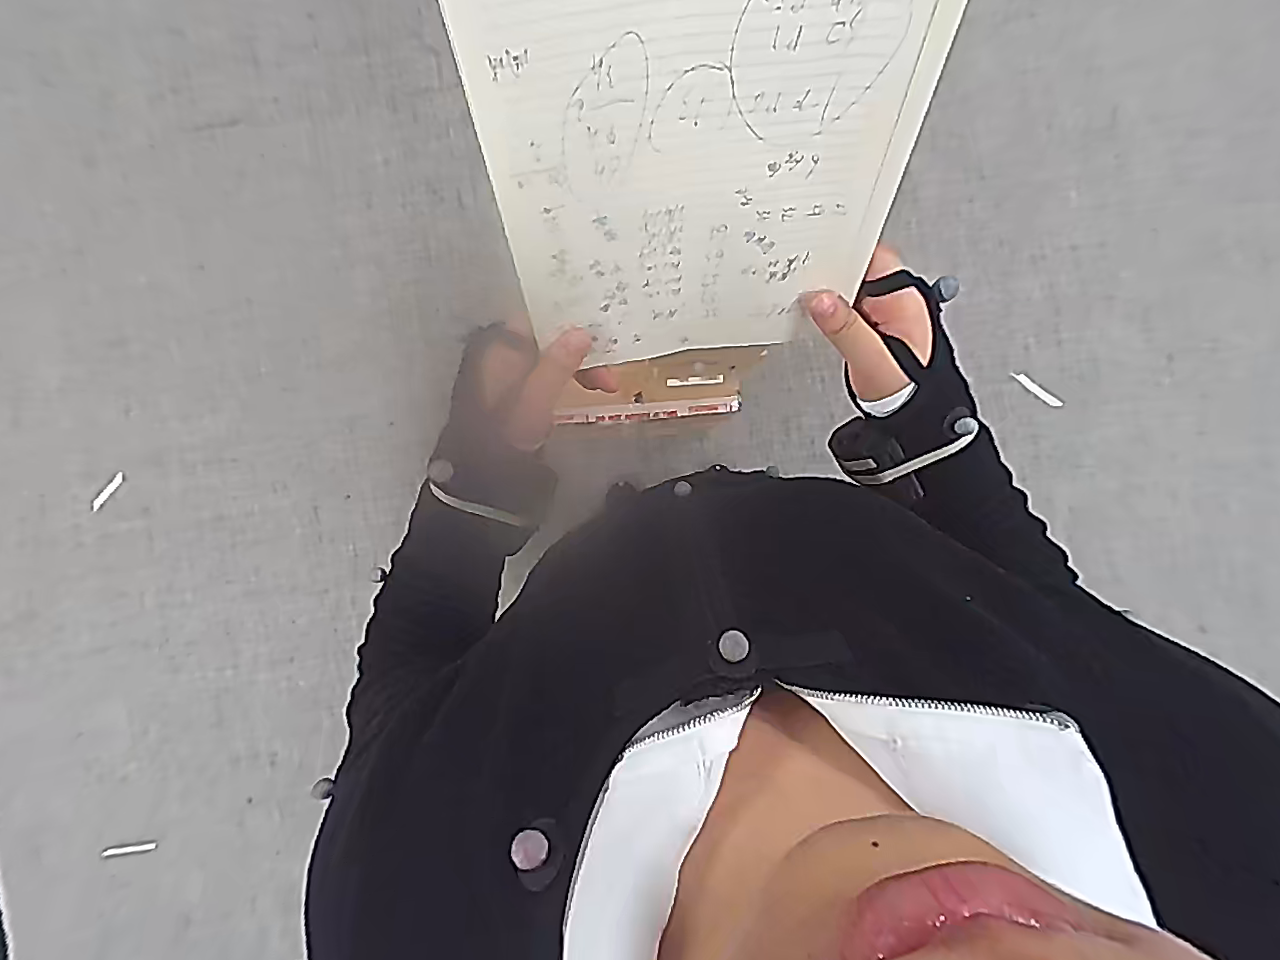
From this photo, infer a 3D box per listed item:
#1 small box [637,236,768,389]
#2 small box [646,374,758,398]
[{"bbox_3d":[0.082,-0.233,0.786,0.168,0.176,0.179,-2,92,-2],"label":"small box"},{"bbox_3d":[0.097,-0.241,0.951,0.179,0.176,0.168,-6,91,-1],"label":"small box"}]
